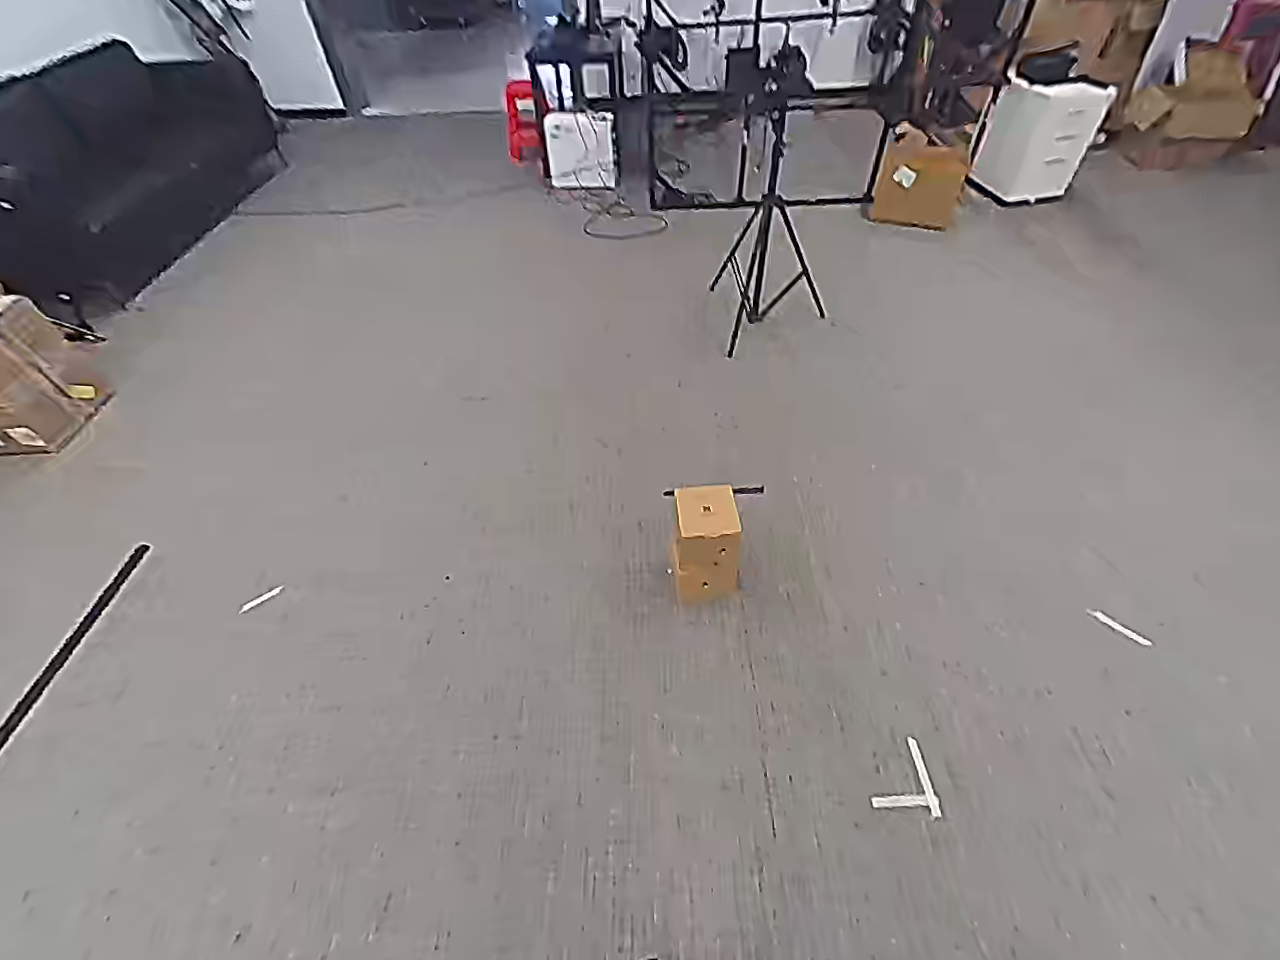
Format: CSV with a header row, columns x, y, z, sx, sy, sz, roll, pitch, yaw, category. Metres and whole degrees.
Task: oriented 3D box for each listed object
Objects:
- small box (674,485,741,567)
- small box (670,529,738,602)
x,y,z,sx,sy,sz,roll,pitch,yaw,category
0.188,0.138,1.550,0.168,0.176,0.179,-4,47,-2,small box
0.190,0.256,1.662,0.179,0.176,0.168,-8,48,-3,small box
